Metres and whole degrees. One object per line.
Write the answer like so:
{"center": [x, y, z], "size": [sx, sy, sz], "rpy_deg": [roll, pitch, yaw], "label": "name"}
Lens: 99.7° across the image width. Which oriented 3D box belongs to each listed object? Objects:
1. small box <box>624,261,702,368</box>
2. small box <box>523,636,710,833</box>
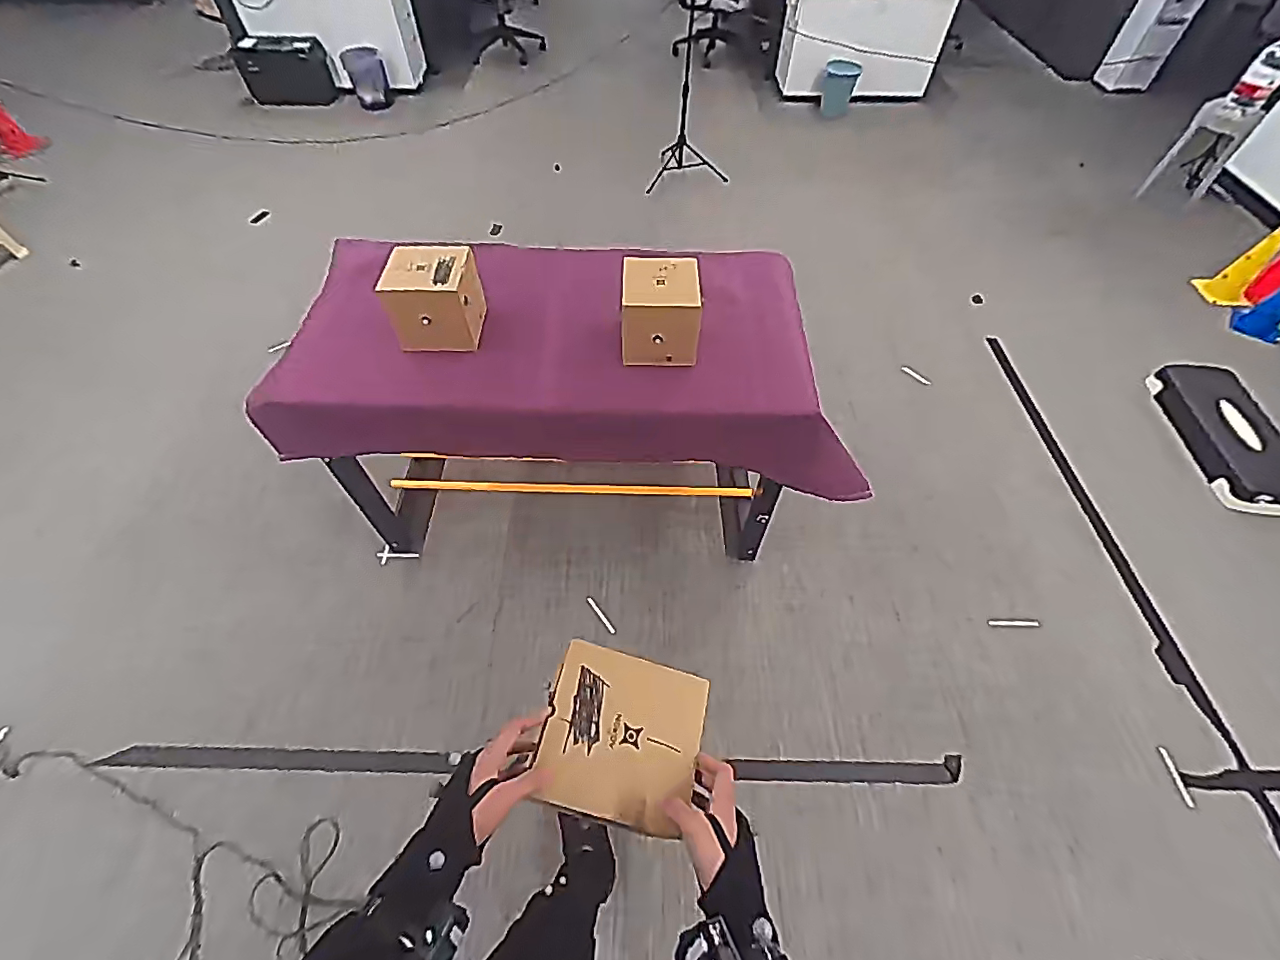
{"center": [0.050, -0.373, 1.231], "size": [0.168, 0.176, 0.179], "rpy_deg": [2, 54, 0], "label": "small box"}
{"center": [-0.035, 0.316, 0.663], "size": [0.179, 0.176, 0.168], "rpy_deg": [19, 56, -4], "label": "small box"}
